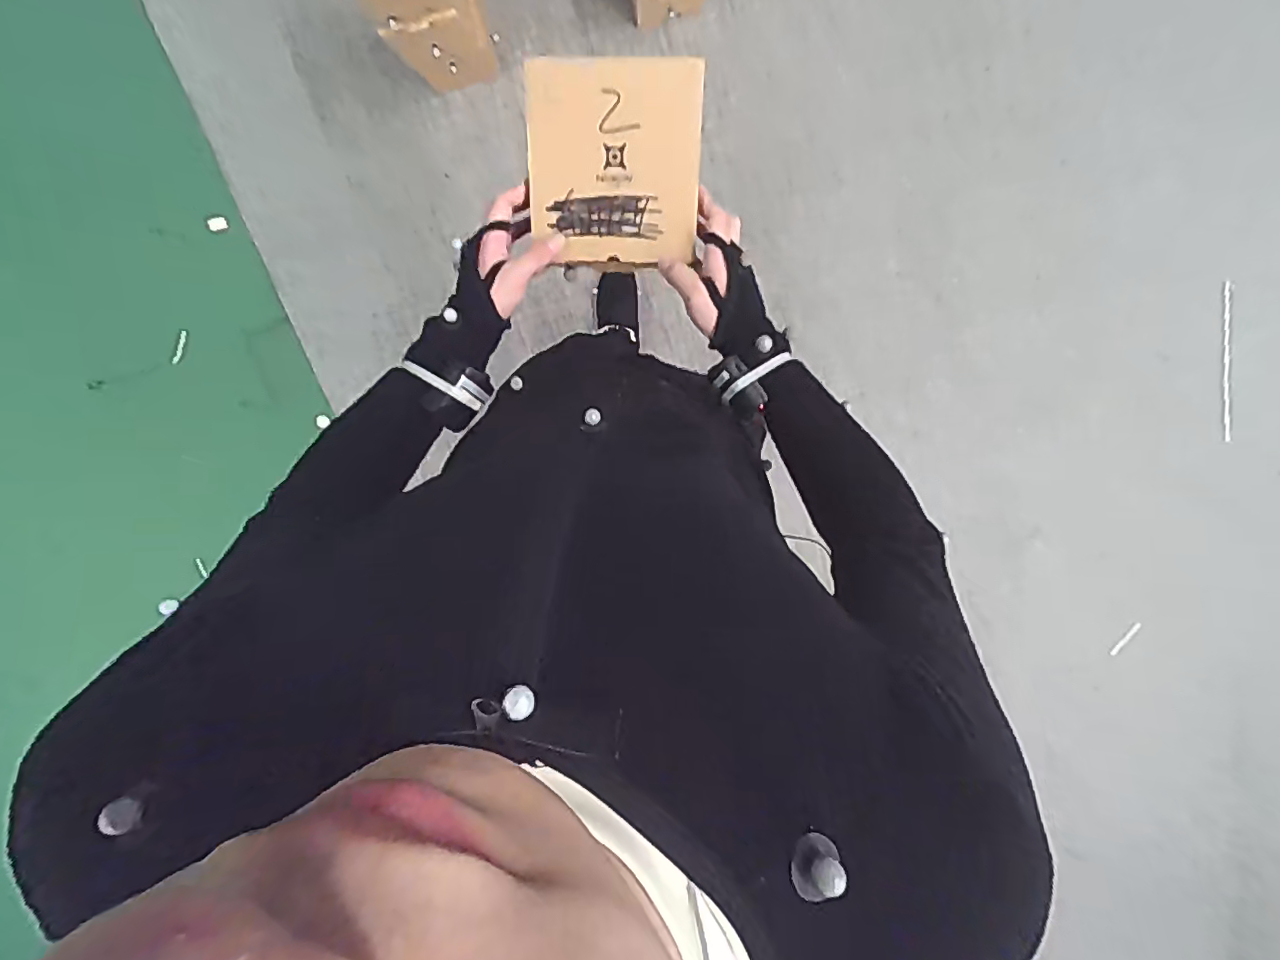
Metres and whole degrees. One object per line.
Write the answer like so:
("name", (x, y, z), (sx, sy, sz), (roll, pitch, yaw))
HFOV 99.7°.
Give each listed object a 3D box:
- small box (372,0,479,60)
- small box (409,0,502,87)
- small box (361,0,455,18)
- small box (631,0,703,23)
("small box", (-0.441, -0.983, 1.087), (0.168, 0.176, 0.179), (-11, 109, 4))
("small box", (-0.437, -1.039, 1.241), (0.179, 0.176, 0.168), (-10, 108, 3))
("small box", (-0.435, -0.941, 0.928), (0.168, 0.176, 0.179), (-12, 108, 4))
("small box", (0.057, -1.162, 1.196), (0.168, 0.176, 0.179), (-4, 109, 4))
